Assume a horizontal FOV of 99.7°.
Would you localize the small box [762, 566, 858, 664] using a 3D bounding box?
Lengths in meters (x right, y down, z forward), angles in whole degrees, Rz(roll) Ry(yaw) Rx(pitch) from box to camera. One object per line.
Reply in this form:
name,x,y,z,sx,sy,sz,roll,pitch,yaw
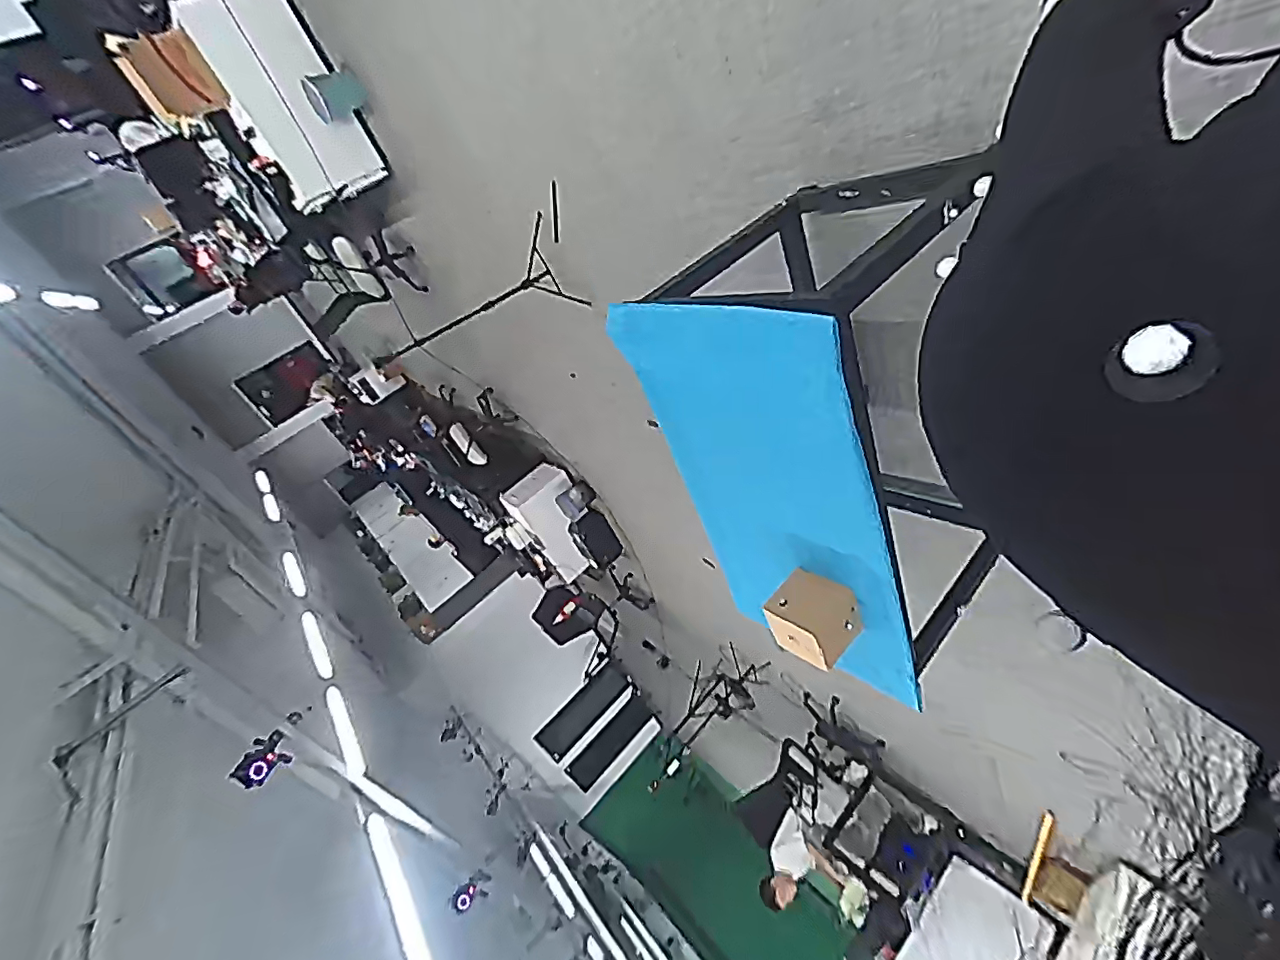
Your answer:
small box,0.470,0.363,1.491,0.179,0.176,0.168,21,146,47
